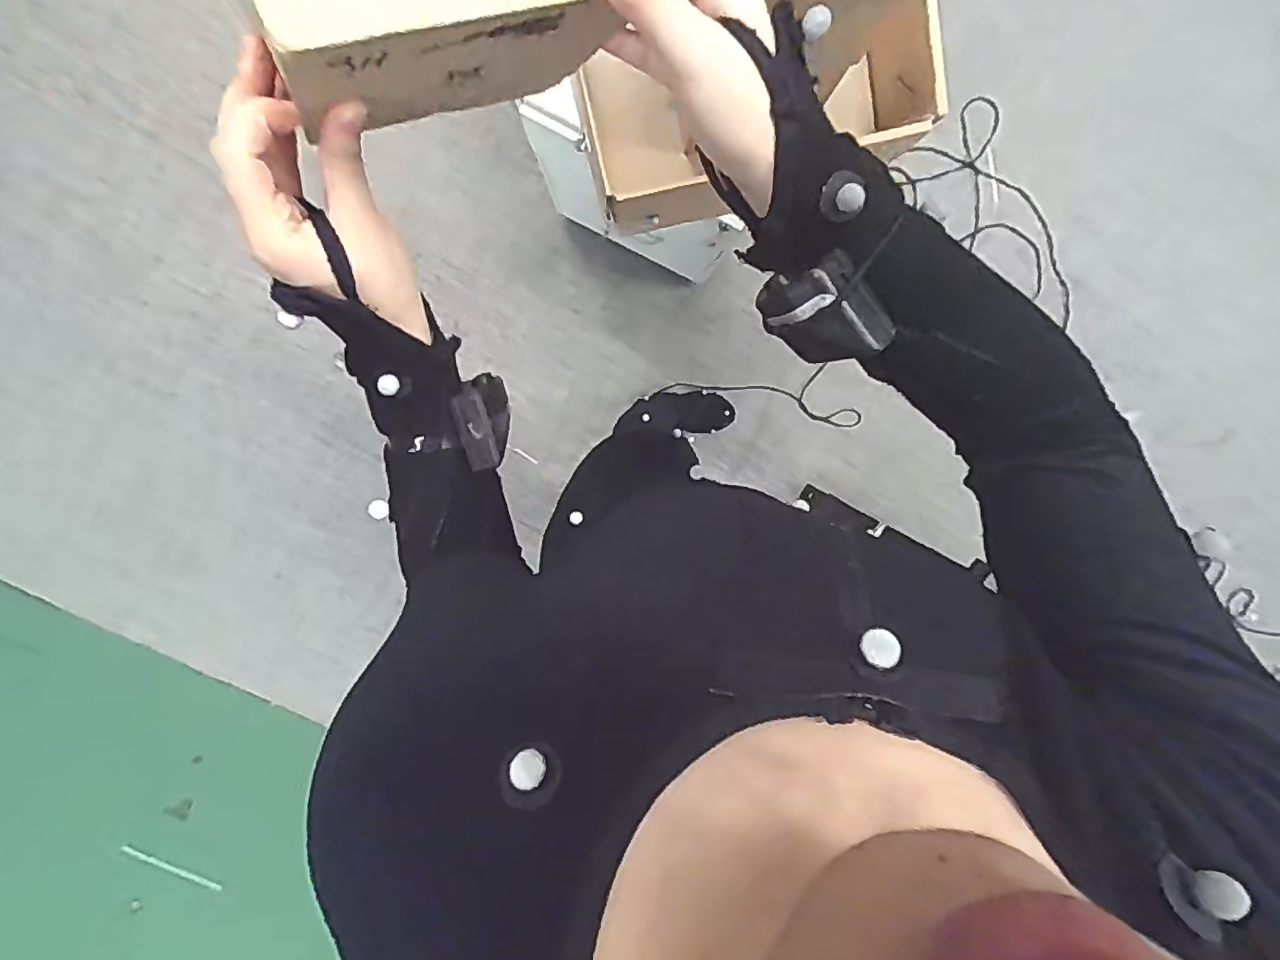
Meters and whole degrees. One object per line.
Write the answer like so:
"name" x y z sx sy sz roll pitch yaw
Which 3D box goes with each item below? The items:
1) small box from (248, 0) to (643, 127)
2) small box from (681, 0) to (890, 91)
"small box" -0.119 -0.295 0.255 0.168 0.179 0.176 -26 119 -18
"small box" 0.130 -0.494 0.485 0.179 0.176 0.168 -11 99 2
